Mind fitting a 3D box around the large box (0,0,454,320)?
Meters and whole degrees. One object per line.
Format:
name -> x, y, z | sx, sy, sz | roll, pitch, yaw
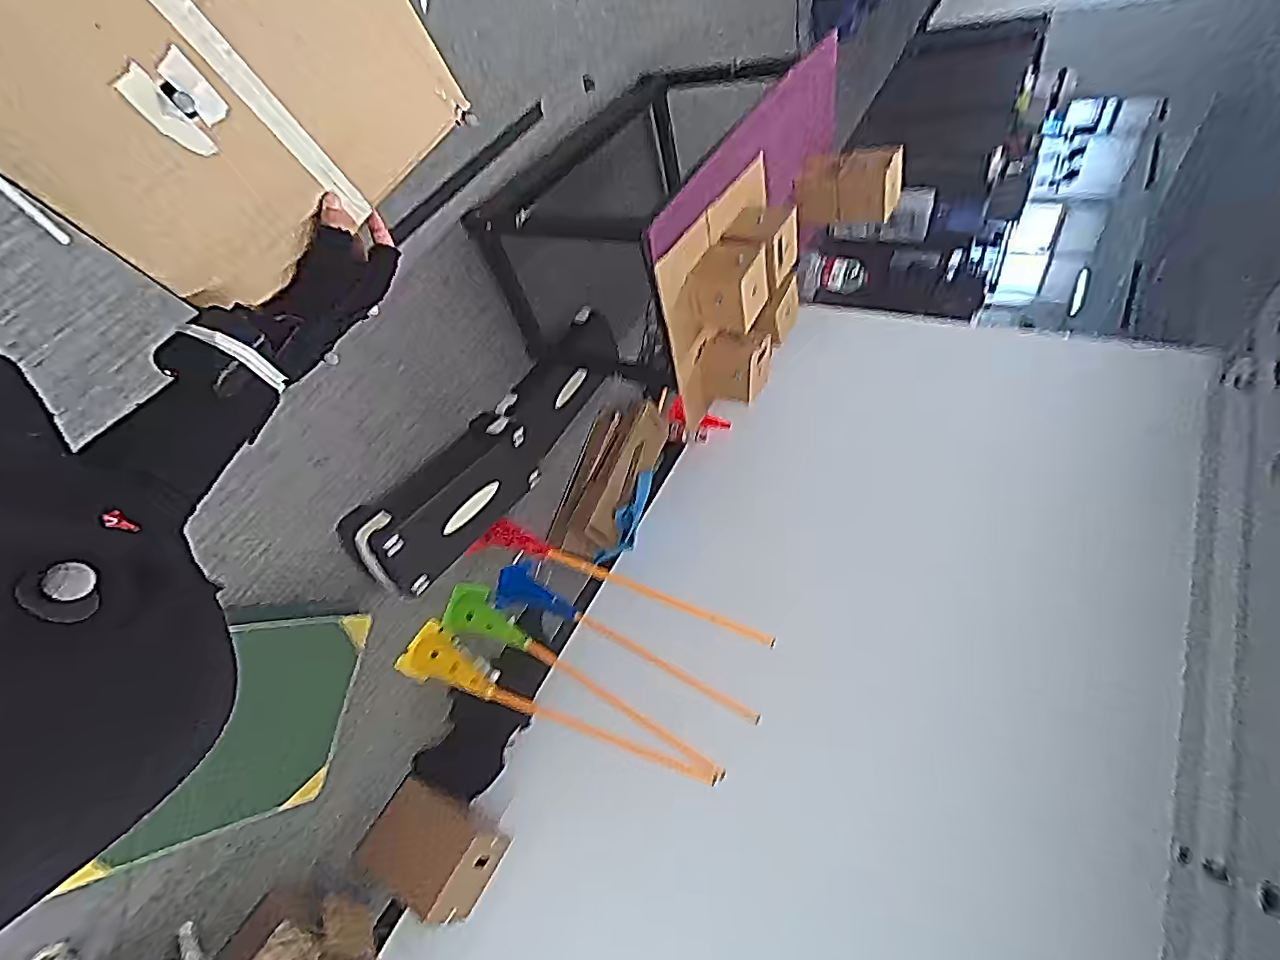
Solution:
large box -> -0.448, -0.407, 0.420 | 0.320, 0.320, 0.408 | -54, 150, -10
